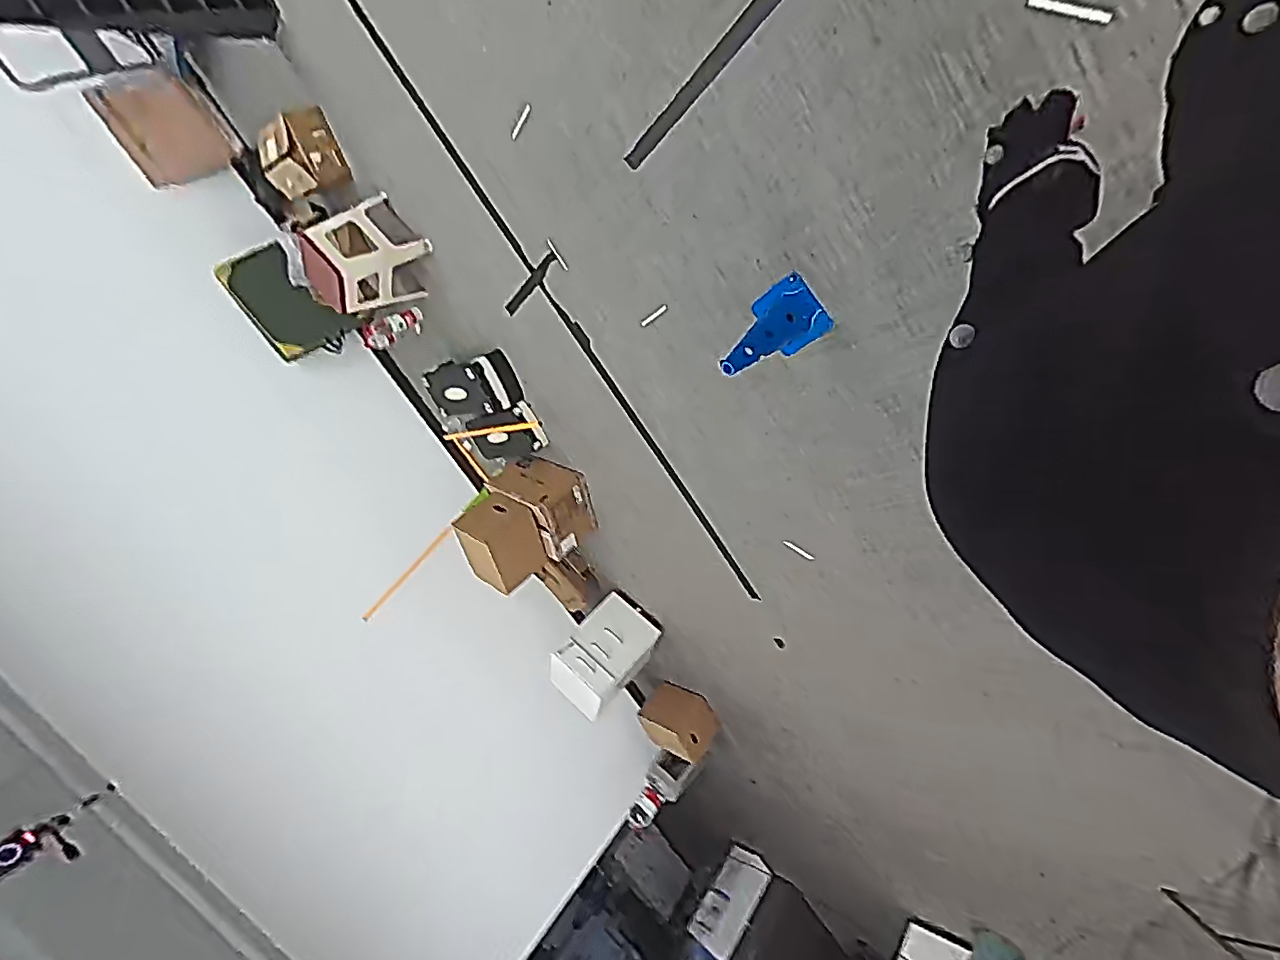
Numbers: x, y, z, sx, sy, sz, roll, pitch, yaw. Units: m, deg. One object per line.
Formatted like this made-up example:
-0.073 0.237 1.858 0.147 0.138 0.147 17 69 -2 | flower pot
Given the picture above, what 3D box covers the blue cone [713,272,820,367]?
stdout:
0.329 -0.409 1.528 0.192 0.380 0.193 53 147 -6 | blue cone
